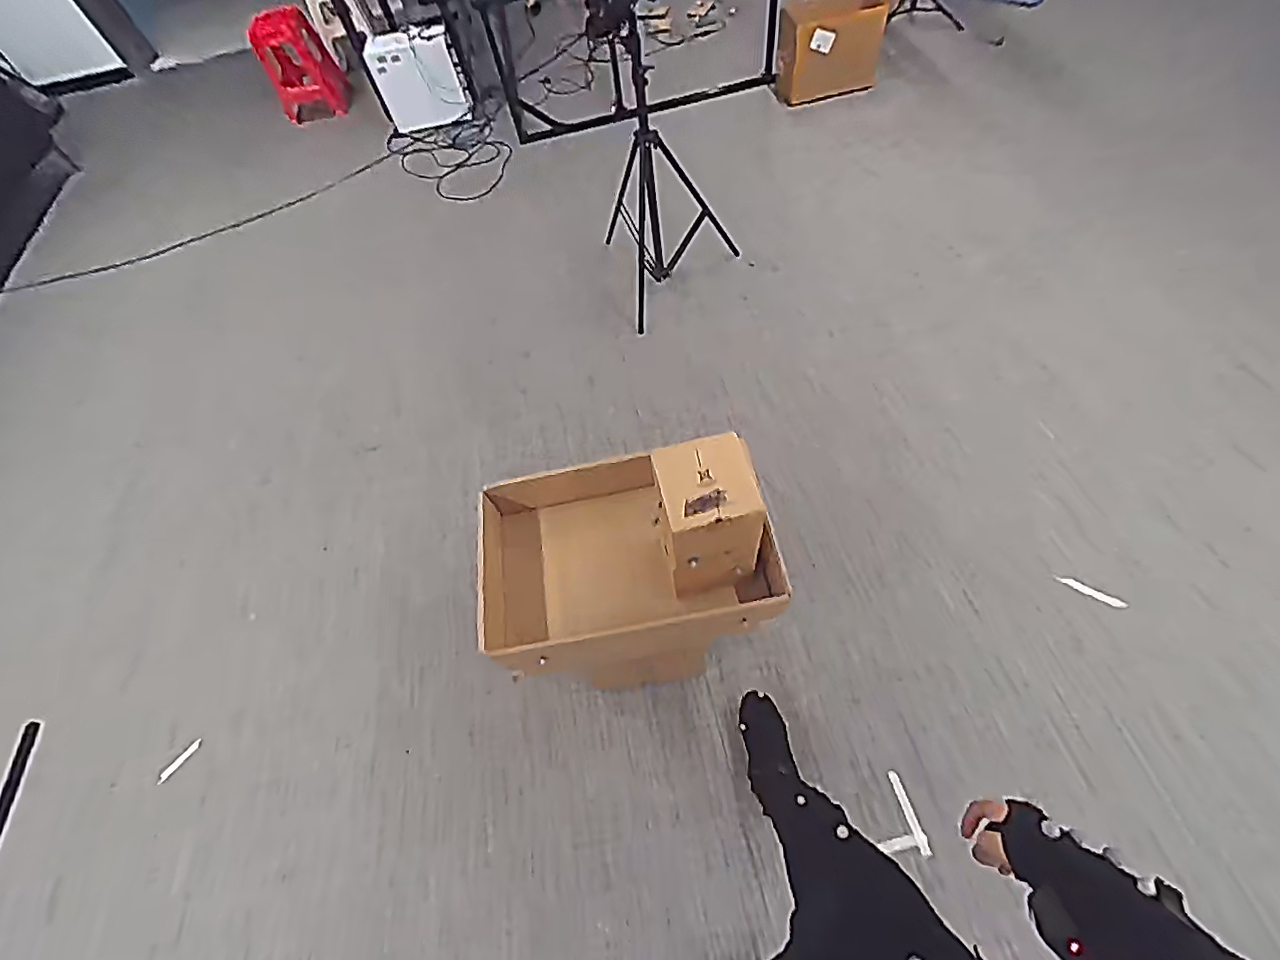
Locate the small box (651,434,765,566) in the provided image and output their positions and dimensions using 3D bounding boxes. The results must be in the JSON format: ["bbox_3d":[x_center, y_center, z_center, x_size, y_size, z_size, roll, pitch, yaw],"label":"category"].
[{"bbox_3d":[0.124,0.047,1.012,0.168,0.176,0.179,-14,59,-1],"label":"small box"}]
